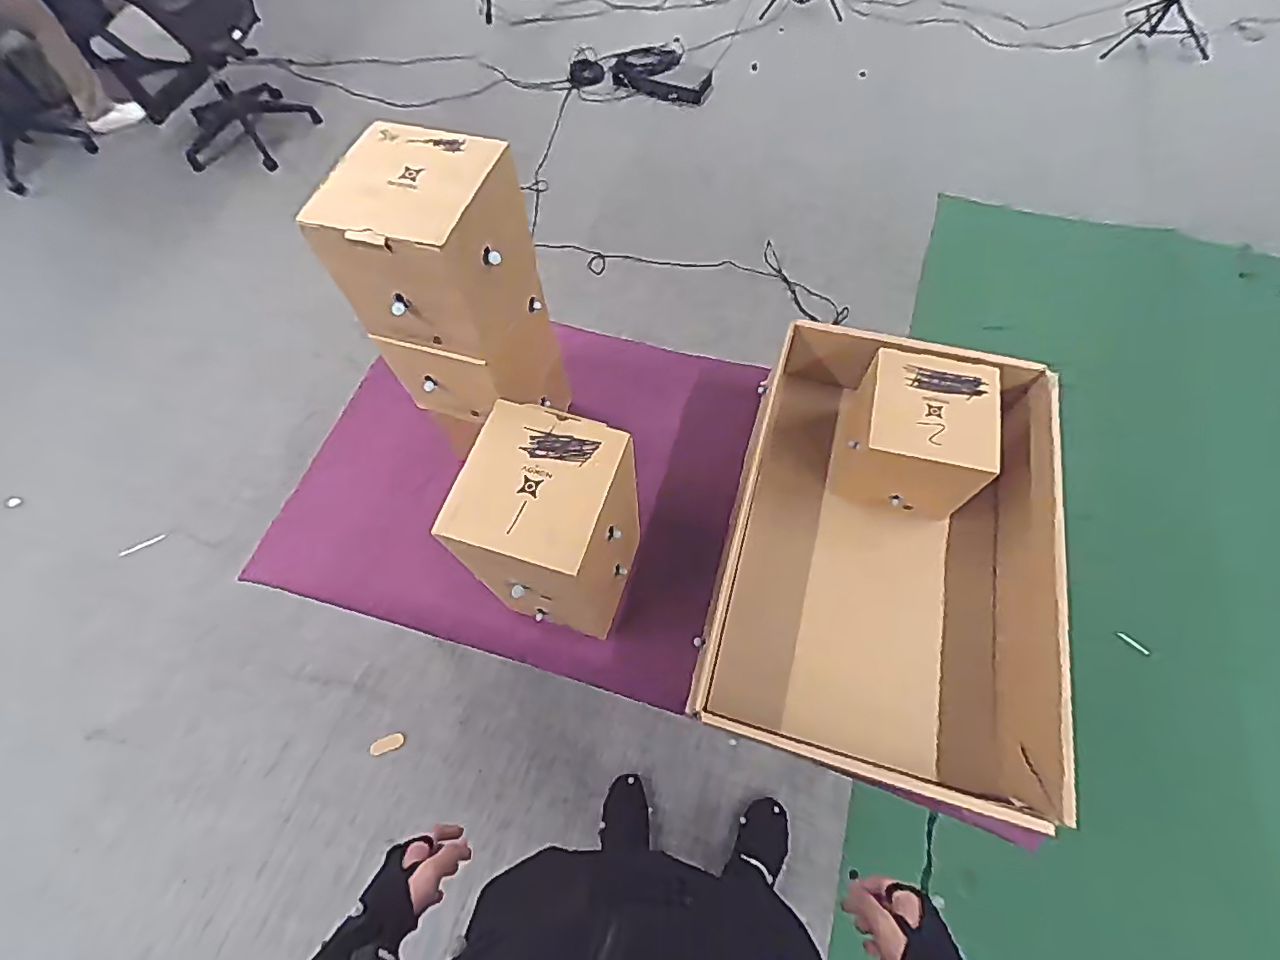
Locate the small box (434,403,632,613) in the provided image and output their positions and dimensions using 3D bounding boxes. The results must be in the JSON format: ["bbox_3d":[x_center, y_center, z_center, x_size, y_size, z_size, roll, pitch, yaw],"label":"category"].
[{"bbox_3d":[-0.112,0.040,0.656,0.168,0.176,0.179,15,65,10],"label":"small box"}]

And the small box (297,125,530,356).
[{"bbox_3d":[-0.244,-0.274,0.639,0.168,0.176,0.179,14,65,8],"label":"small box"}]

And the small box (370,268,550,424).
[{"bbox_3d":[-0.242,-0.197,0.784,0.168,0.176,0.179,15,65,8],"label":"small box"}]

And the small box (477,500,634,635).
[{"bbox_3d":[-0.110,0.113,0.802,0.168,0.176,0.179,16,65,9],"label":"small box"}]

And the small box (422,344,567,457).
[{"bbox_3d":[-0.236,-0.129,0.931,0.168,0.176,0.179,15,65,8],"label":"small box"}]
